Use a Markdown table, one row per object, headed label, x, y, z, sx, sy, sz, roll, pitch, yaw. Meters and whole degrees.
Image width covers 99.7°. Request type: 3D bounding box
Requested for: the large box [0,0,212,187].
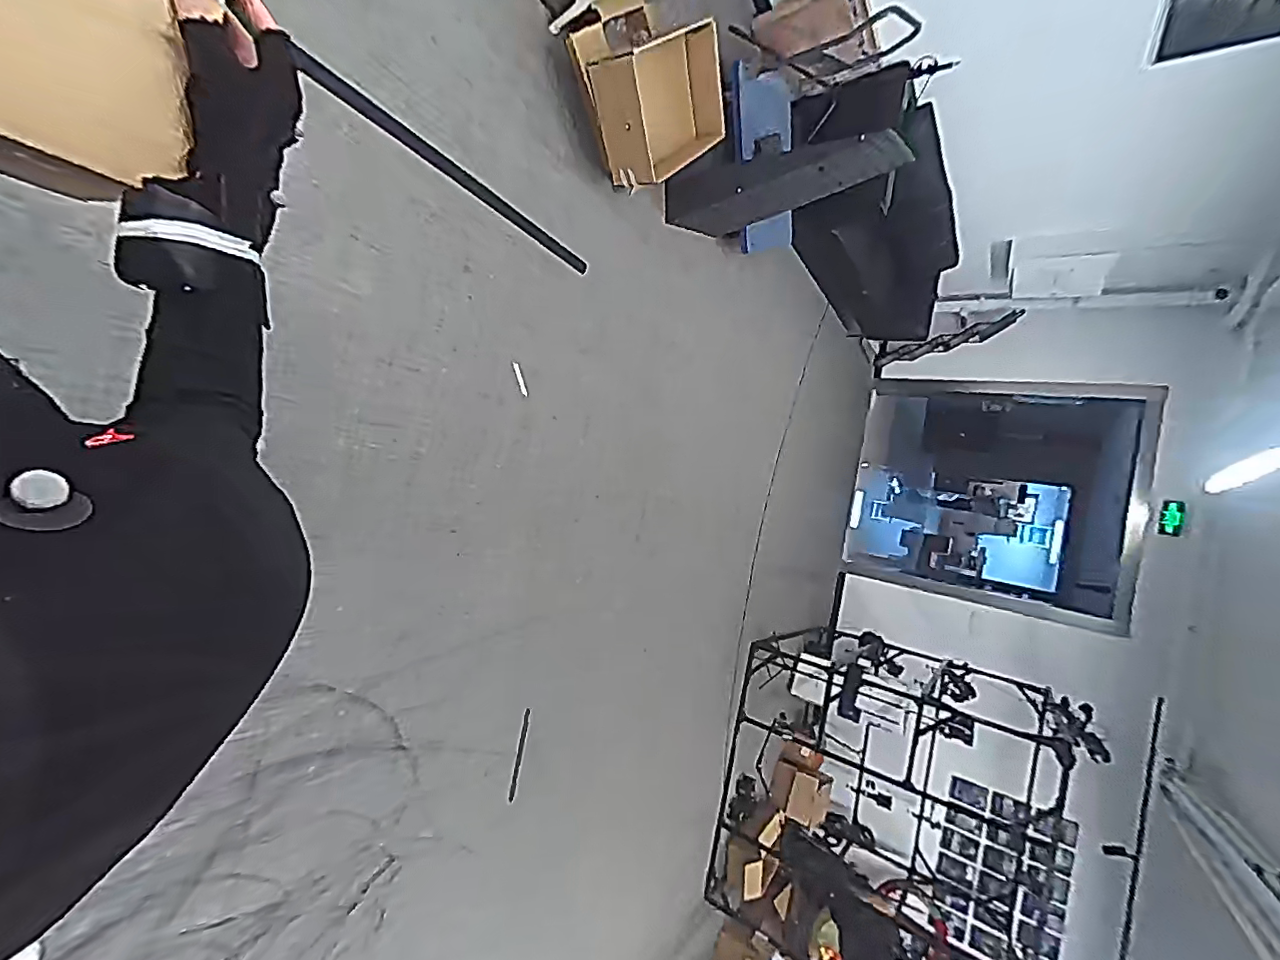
| label | x | y | z | sx | sy | sz | roll | pitch | yaw |
| --- | --- | --- | --- | --- | --- | --- | --- | --- | --- |
| large box | -0.543 | -0.422 | 0.314 | 0.408 | 0.320 | 0.320 | 7 | 102 | -57 |
